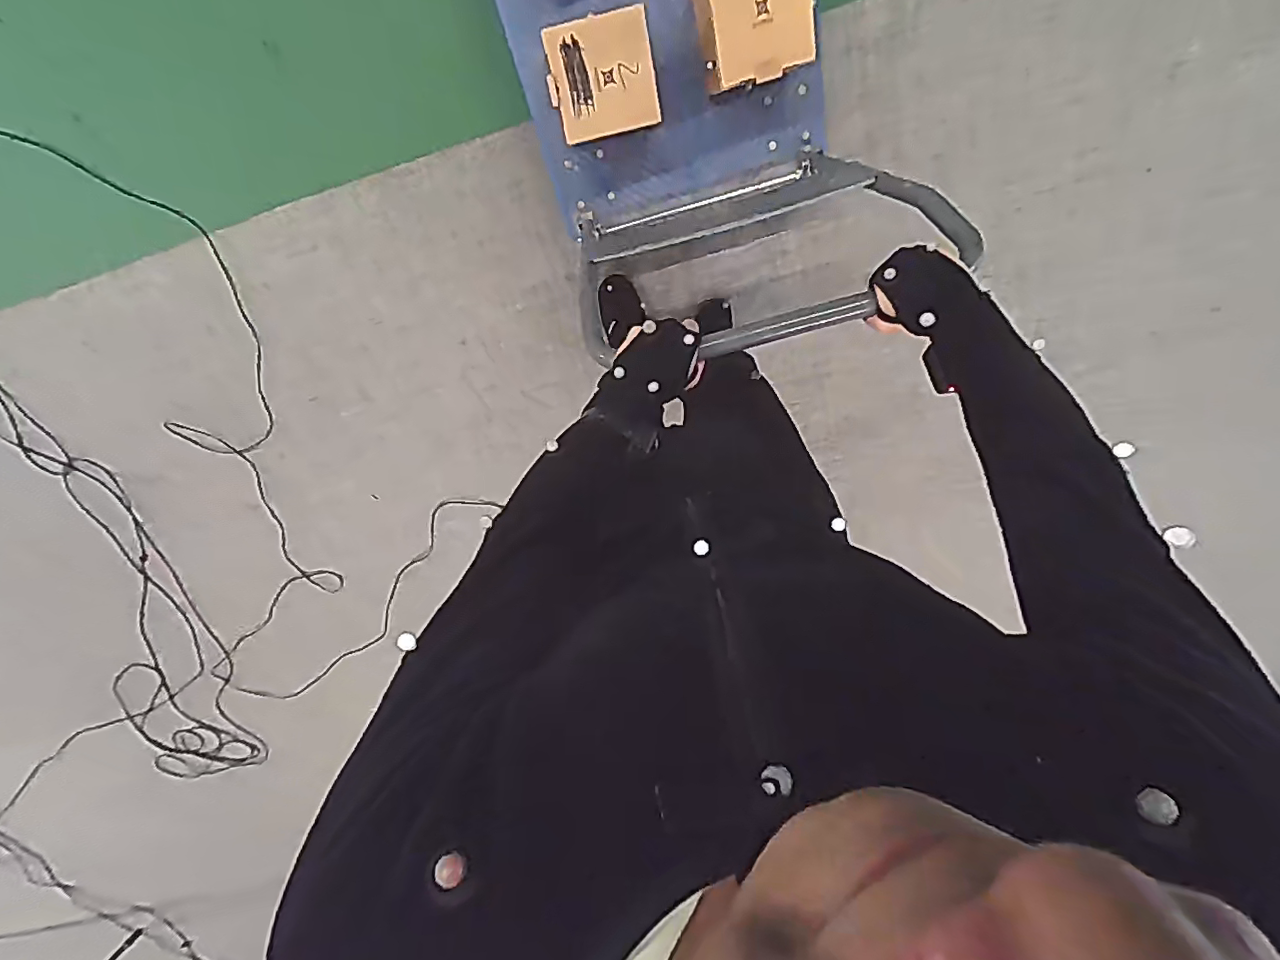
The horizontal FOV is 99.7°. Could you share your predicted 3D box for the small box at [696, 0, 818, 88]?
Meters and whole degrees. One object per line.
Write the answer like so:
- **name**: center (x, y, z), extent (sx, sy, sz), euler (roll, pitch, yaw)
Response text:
- **small box**: center (0.198, -0.815, 0.946), extent (0.168, 0.176, 0.179), euler (-14, 124, 5)
